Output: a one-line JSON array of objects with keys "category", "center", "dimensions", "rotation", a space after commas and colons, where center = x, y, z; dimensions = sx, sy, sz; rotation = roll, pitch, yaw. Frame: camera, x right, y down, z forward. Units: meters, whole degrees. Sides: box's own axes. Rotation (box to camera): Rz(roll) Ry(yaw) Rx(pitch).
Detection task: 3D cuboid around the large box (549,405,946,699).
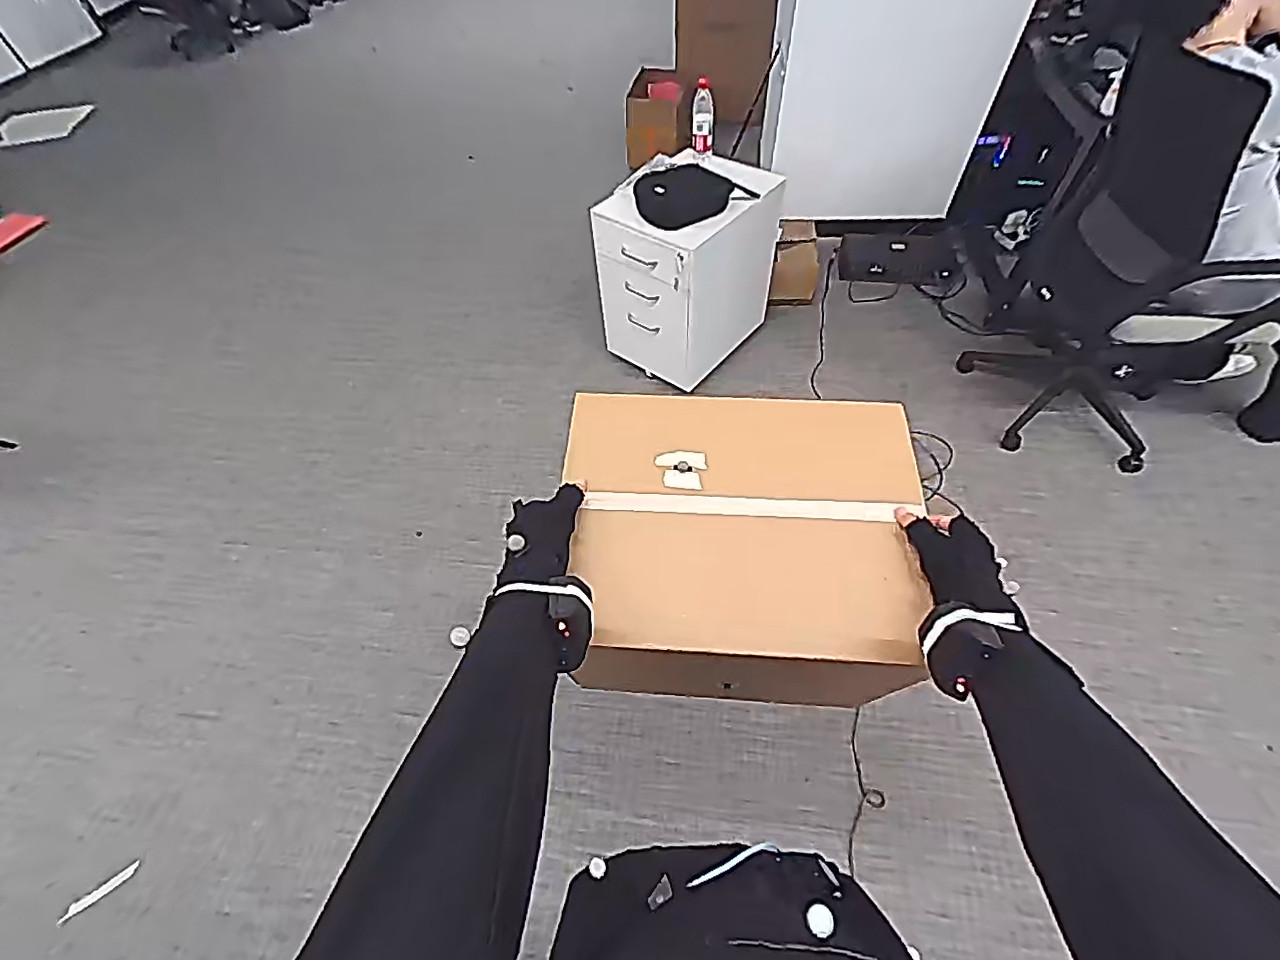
[{"category": "large box", "center": [0.120, 0.113, 0.741], "dimensions": [0.408, 0.320, 0.320], "rotation": [2, 60, 4]}]
